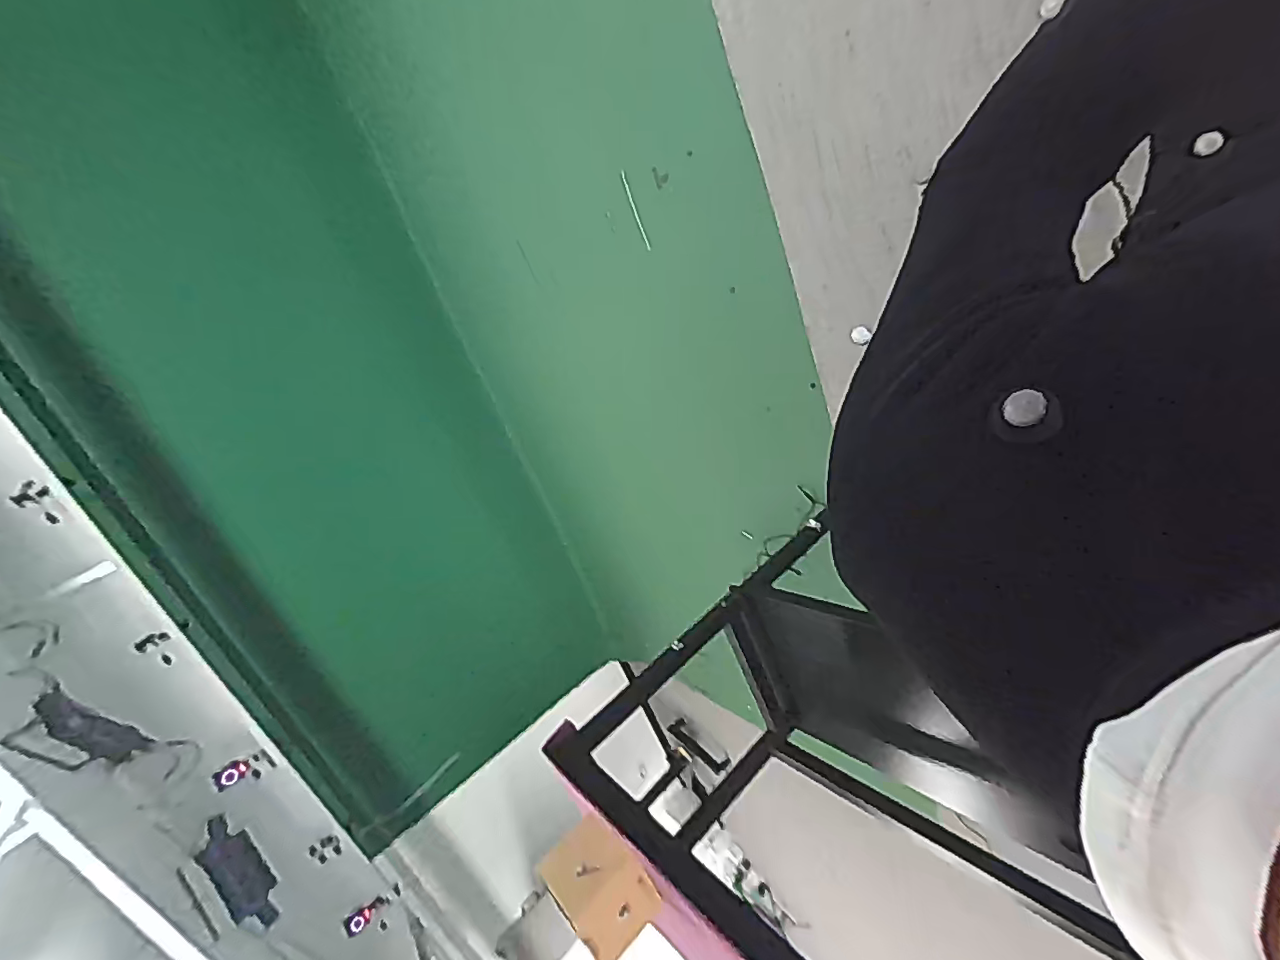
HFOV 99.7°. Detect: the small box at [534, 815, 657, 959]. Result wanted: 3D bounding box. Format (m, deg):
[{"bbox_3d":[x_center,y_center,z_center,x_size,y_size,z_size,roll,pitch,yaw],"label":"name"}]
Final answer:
[{"bbox_3d":[-0.084,0.853,1.131,0.179,0.176,0.168,2,120,54],"label":"small box"}]
